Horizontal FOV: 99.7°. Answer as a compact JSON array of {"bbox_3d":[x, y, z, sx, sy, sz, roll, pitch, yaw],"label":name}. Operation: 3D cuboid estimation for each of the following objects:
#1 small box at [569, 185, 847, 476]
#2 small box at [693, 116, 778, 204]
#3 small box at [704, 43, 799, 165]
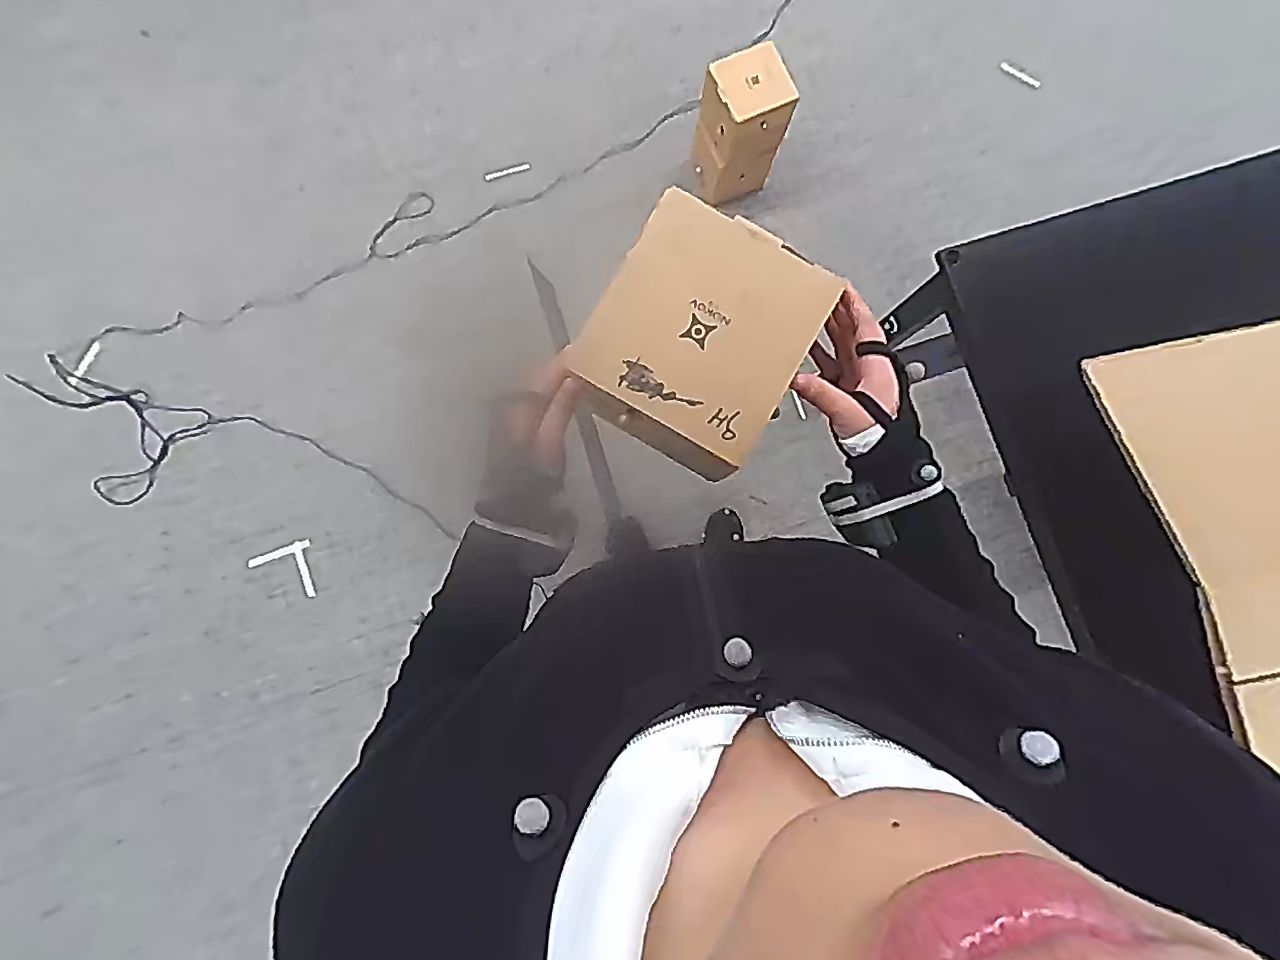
[{"bbox_3d":[0.055,-0.121,0.509,0.168,0.176,0.179,30,86,5],"label":"small box"},{"bbox_3d":[0.266,-0.931,1.547,0.179,0.176,0.168,-21,85,-2],"label":"small box"},{"bbox_3d":[0.274,-0.951,1.386,0.179,0.176,0.168,-24,86,-5],"label":"small box"}]
